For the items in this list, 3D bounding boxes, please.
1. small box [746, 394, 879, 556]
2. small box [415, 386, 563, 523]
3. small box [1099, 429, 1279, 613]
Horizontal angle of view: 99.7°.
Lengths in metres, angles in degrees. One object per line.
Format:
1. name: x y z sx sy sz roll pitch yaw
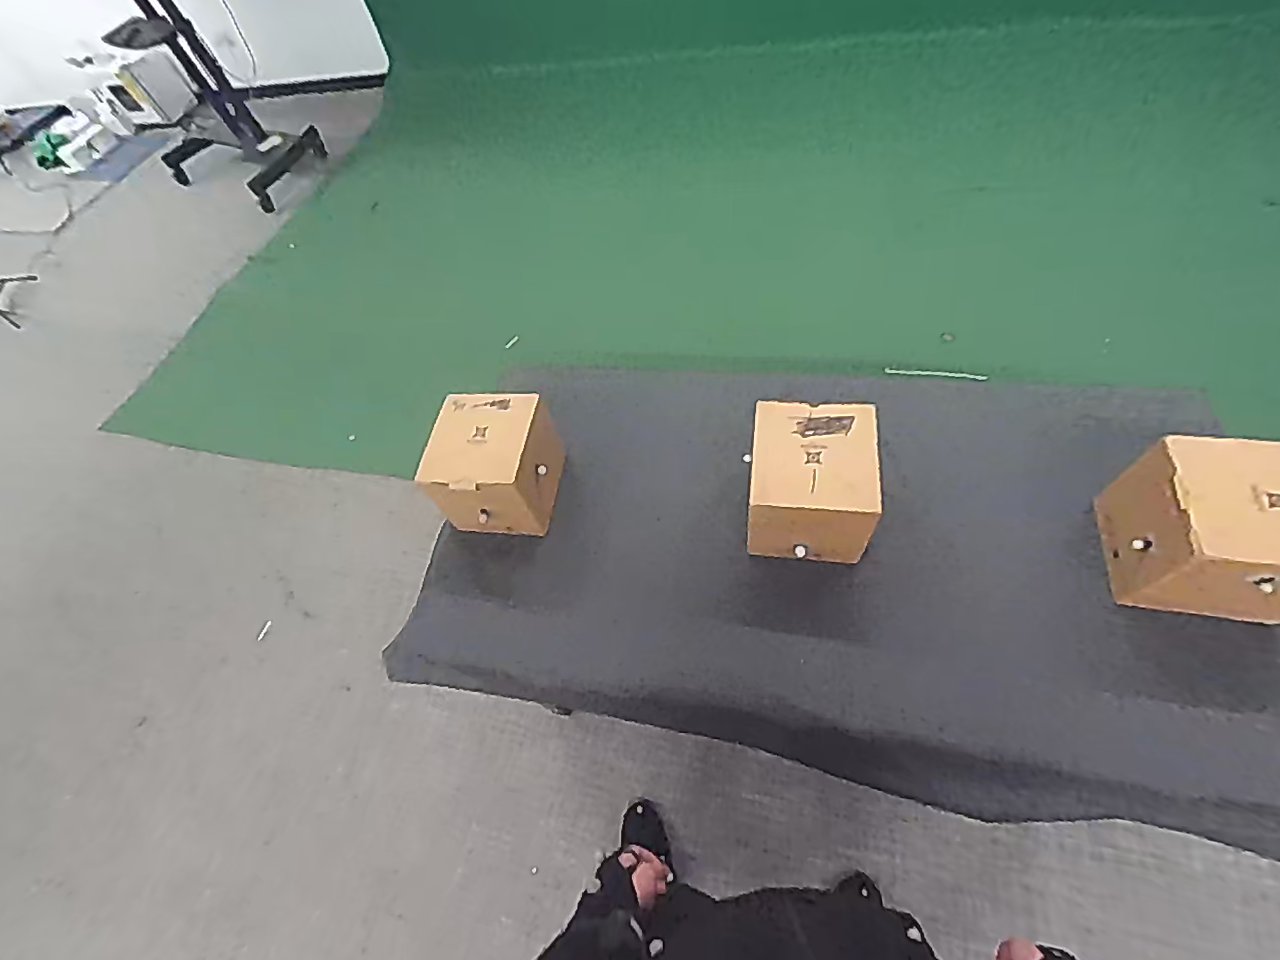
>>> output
1. small box: 0.247 -0.006 0.801 0.168 0.176 0.179 4 61 13
2. small box: -0.239 -0.039 0.911 0.168 0.176 0.179 2 60 11
3. small box: 0.721 0.056 0.677 0.179 0.176 0.168 7 62 13
